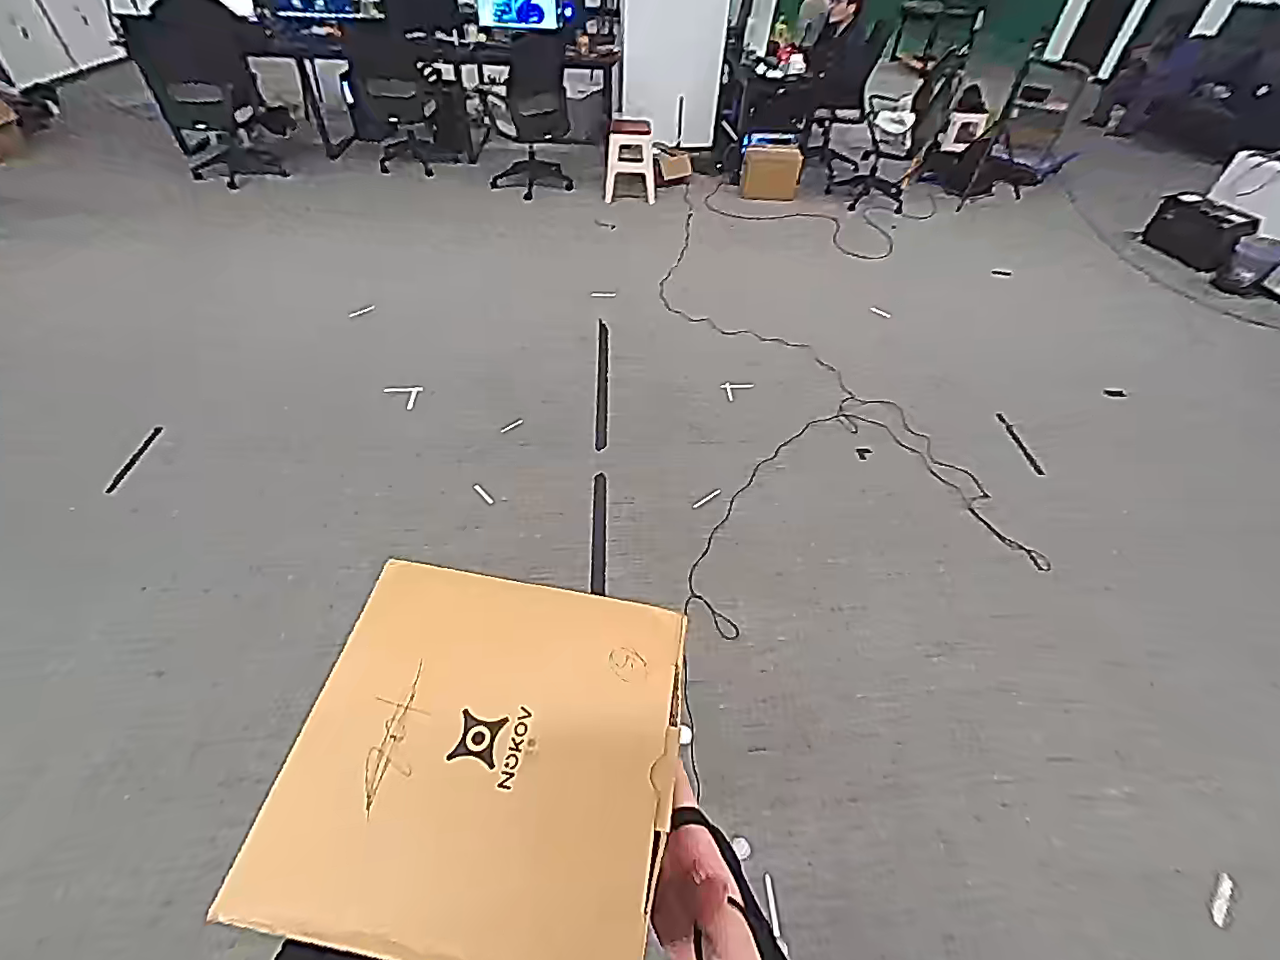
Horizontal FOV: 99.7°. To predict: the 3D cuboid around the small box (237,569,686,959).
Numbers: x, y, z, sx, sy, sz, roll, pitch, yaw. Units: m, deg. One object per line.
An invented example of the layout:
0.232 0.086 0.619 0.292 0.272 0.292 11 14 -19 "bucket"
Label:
-0.075 0.179 0.333 0.179 0.176 0.168 9 52 5 "small box"
